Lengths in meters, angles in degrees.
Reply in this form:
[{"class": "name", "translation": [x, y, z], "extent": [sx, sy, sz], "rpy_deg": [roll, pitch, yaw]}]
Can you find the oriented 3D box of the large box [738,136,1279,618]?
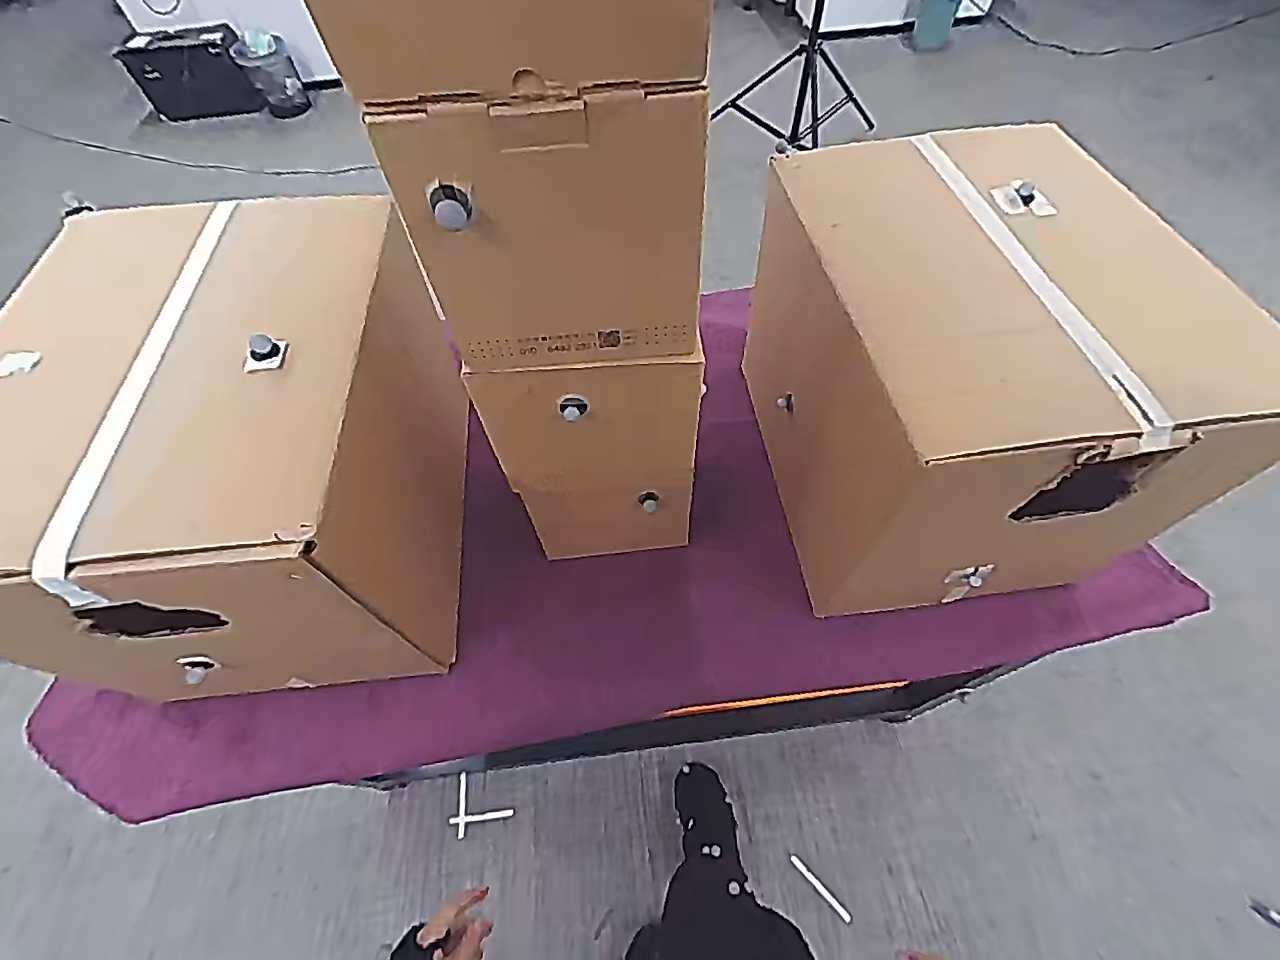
[{"class": "large box", "translation": [0.316, -0.109, 0.597], "extent": [0.320, 0.320, 0.408], "rpy_deg": [-7, 56, -3]}]
